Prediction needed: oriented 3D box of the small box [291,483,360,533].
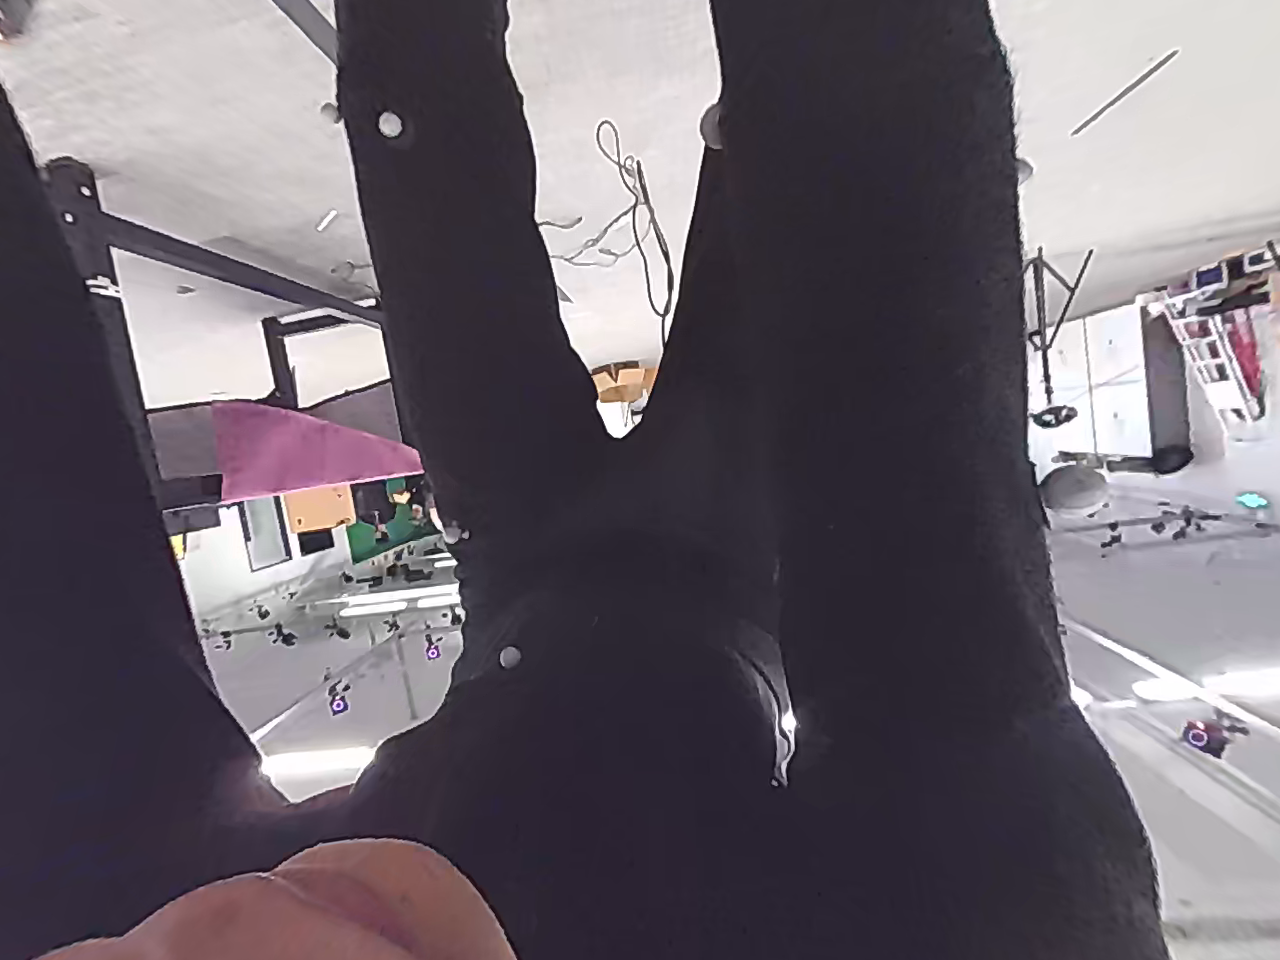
[{"bbox_3d":[-1.269,0.109,2.177,0.179,0.176,0.168,-9,-175,5],"label":"small box"}]
